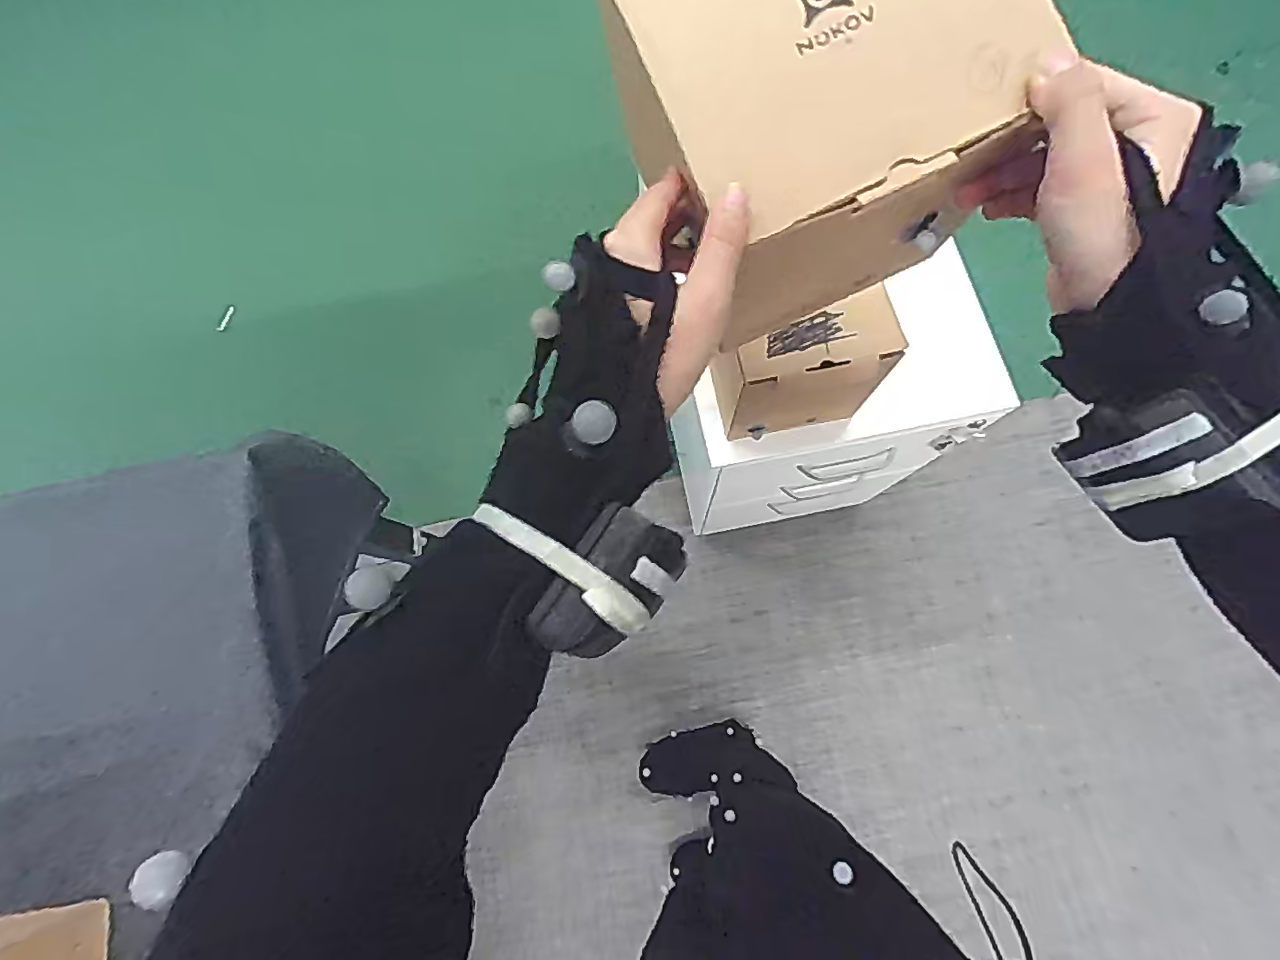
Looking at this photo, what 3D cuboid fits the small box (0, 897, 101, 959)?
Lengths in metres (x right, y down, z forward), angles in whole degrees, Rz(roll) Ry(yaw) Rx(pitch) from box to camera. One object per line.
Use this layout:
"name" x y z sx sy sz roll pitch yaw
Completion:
"small box" -0.537 0.428 0.373 0.179 0.176 0.168 -10 76 1

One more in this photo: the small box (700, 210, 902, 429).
"small box" 0.169 -0.170 0.628 0.168 0.176 0.179 -11 74 -1
